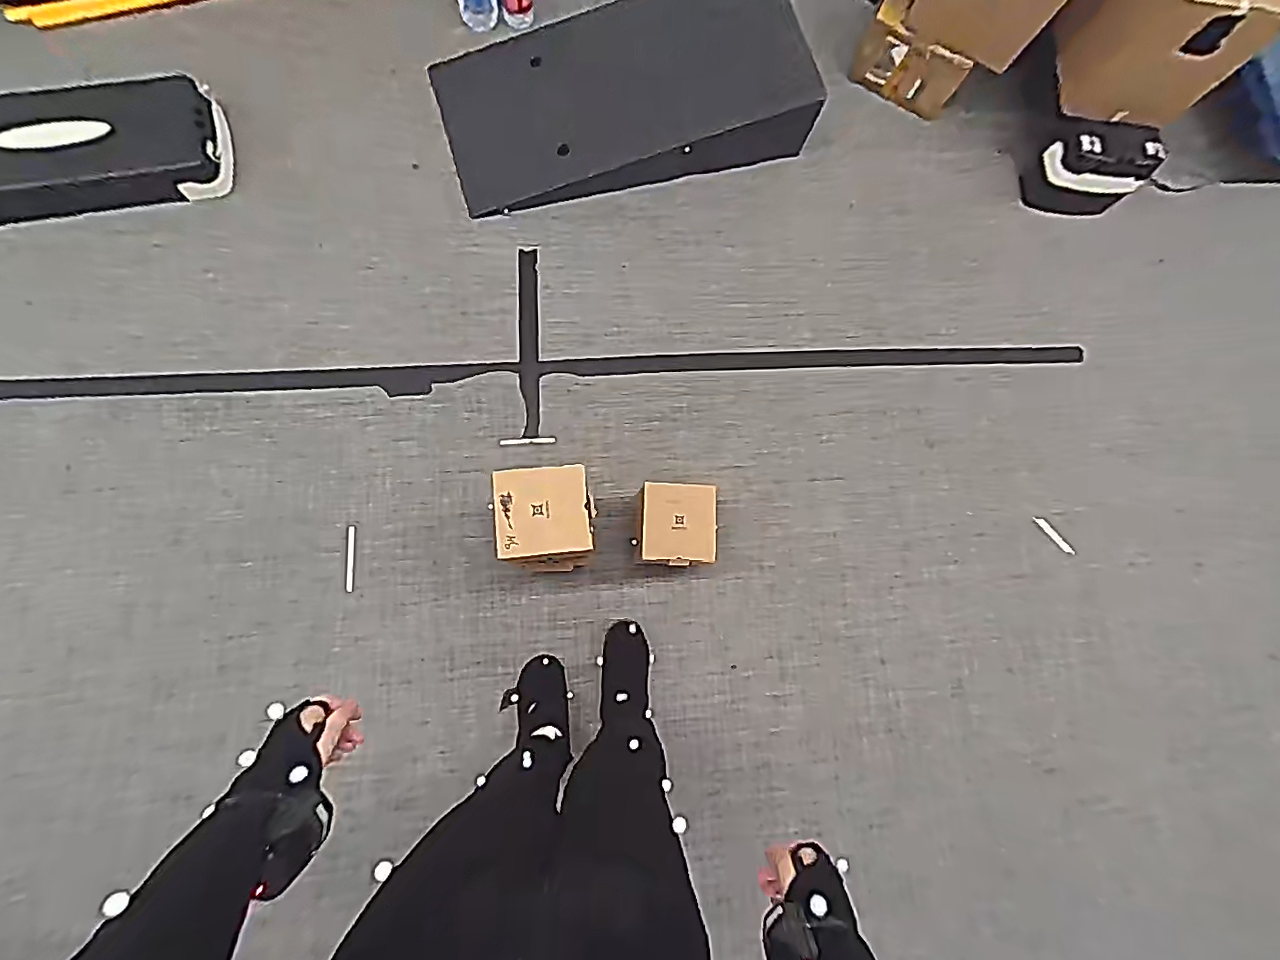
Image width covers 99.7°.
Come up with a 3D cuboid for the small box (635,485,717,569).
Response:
[{"bbox_3d":[0.080,0.116,1.269,0.168,0.176,0.179,4,78,-7],"label":"small box"}]

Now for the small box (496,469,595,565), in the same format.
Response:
[{"bbox_3d":[-0.186,0.077,1.075,0.179,0.176,0.168,-4,79,-8],"label":"small box"}]

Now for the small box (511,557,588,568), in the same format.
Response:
[{"bbox_3d":[-0.200,0.112,1.235,0.168,0.176,0.179,1,78,-7],"label":"small box"}]
